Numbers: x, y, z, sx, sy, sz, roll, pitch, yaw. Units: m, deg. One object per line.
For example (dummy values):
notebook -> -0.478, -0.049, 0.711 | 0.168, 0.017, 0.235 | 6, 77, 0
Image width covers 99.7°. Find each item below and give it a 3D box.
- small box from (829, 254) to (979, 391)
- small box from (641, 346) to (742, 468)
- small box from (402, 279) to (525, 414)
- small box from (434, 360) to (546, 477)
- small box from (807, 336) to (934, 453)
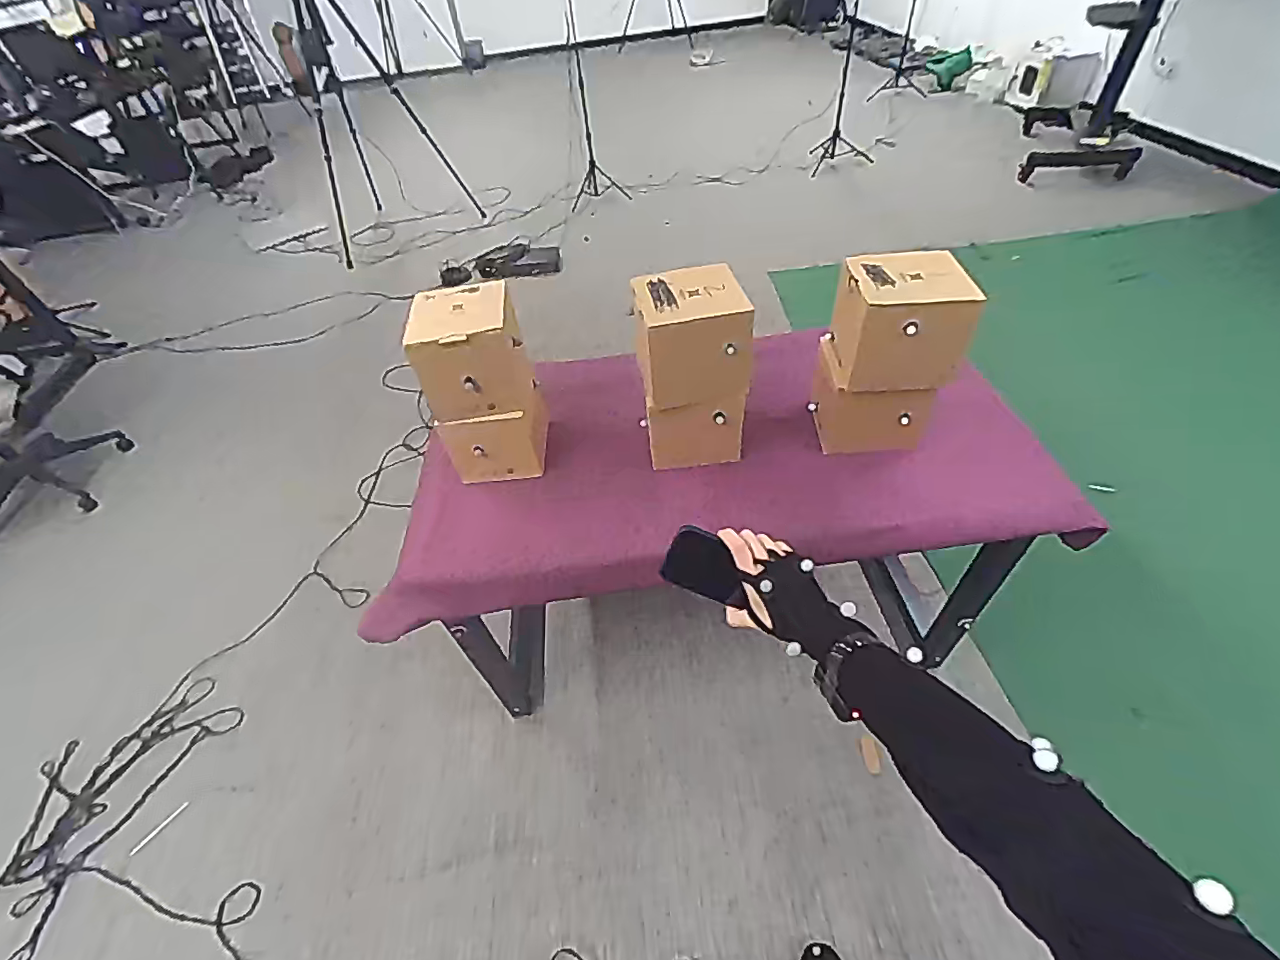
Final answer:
small box -> 0.432, -0.264, 0.924 | 0.179, 0.176, 0.168 | -1, 47, 5
small box -> 0.097, -0.142, 1.072 | 0.179, 0.176, 0.168 | -6, 47, 2
small box -> -0.307, -0.235, 0.981 | 0.168, 0.176, 0.179 | -9, 48, -2
small box -> -0.292, -0.118, 1.096 | 0.168, 0.176, 0.179 | -5, 47, 2
small box -> 0.436, -0.165, 1.055 | 0.179, 0.176, 0.168 | -1, 47, 6
